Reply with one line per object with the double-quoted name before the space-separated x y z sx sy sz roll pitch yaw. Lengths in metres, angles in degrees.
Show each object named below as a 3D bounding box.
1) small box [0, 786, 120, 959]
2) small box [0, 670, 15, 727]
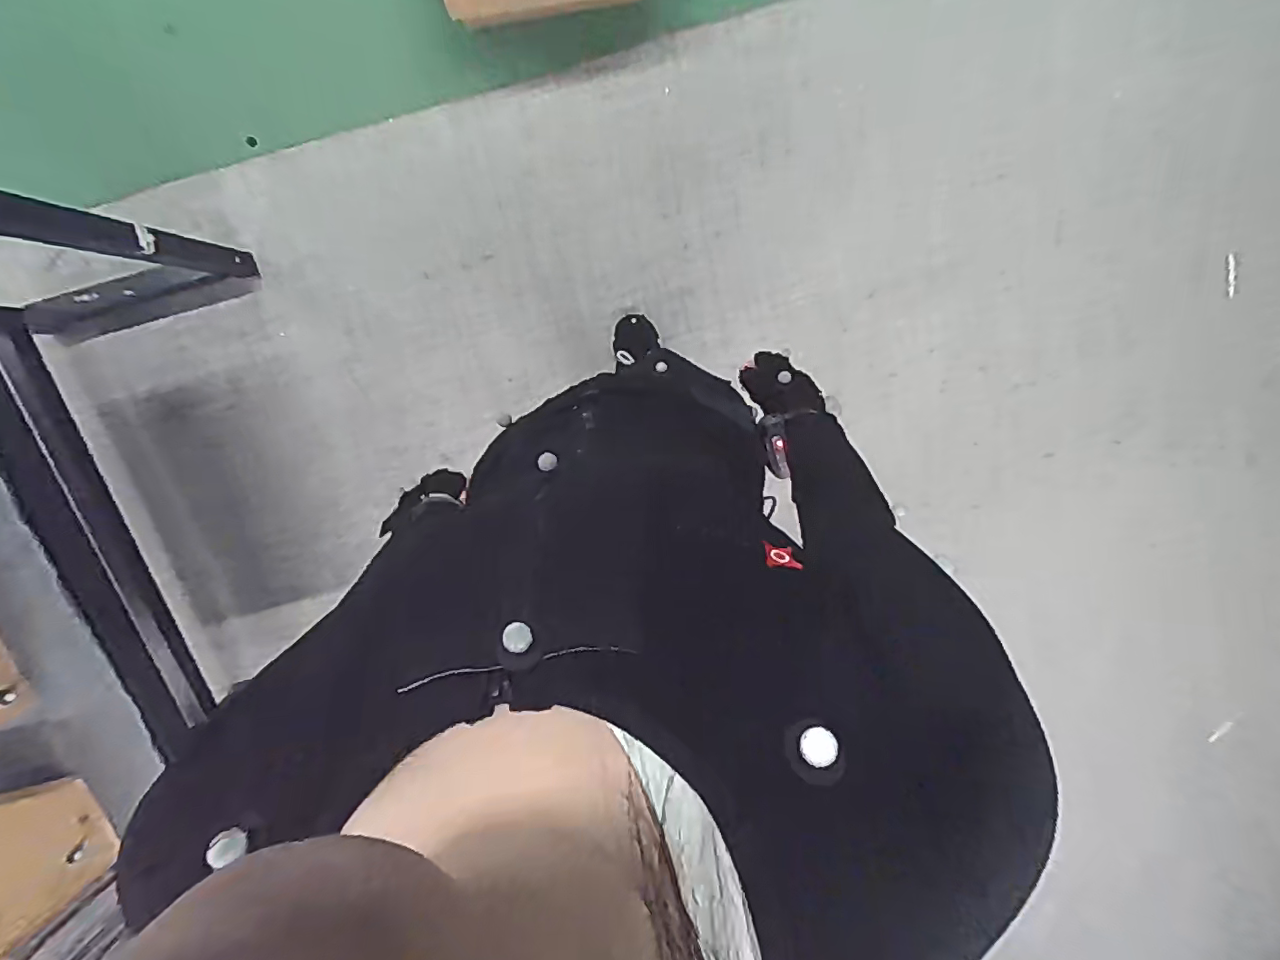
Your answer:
"small box" -0.909 0.570 0.754 0.179 0.176 0.168 -15 102 3
"small box" -0.980 0.298 0.689 0.179 0.176 0.168 -14 103 2
